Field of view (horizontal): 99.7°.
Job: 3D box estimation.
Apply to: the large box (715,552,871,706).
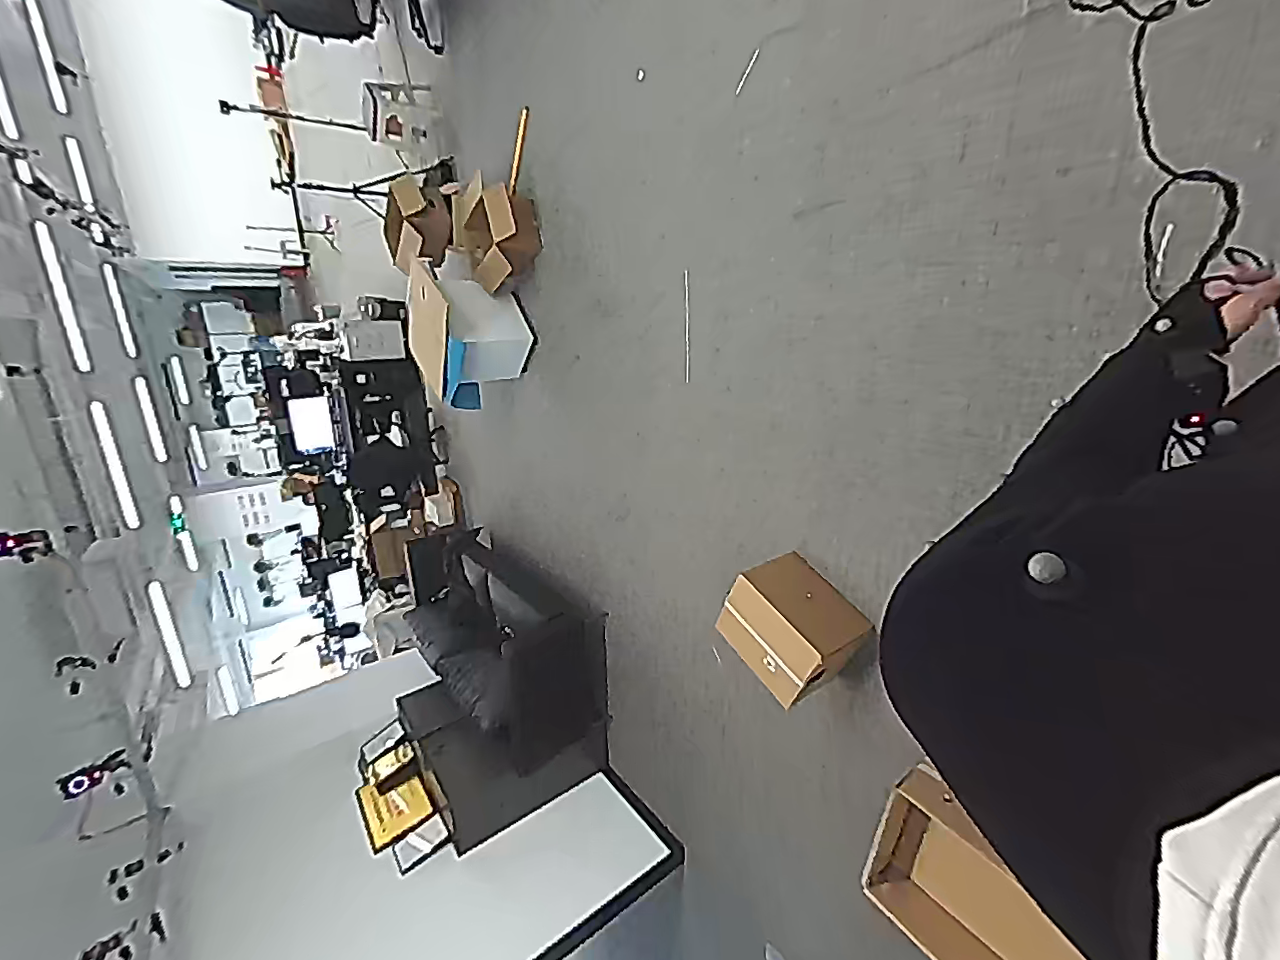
[{"bbox_3d":[0.558,0.536,2.016,0.408,0.320,0.320,45,135,35],"label":"large box"}]
